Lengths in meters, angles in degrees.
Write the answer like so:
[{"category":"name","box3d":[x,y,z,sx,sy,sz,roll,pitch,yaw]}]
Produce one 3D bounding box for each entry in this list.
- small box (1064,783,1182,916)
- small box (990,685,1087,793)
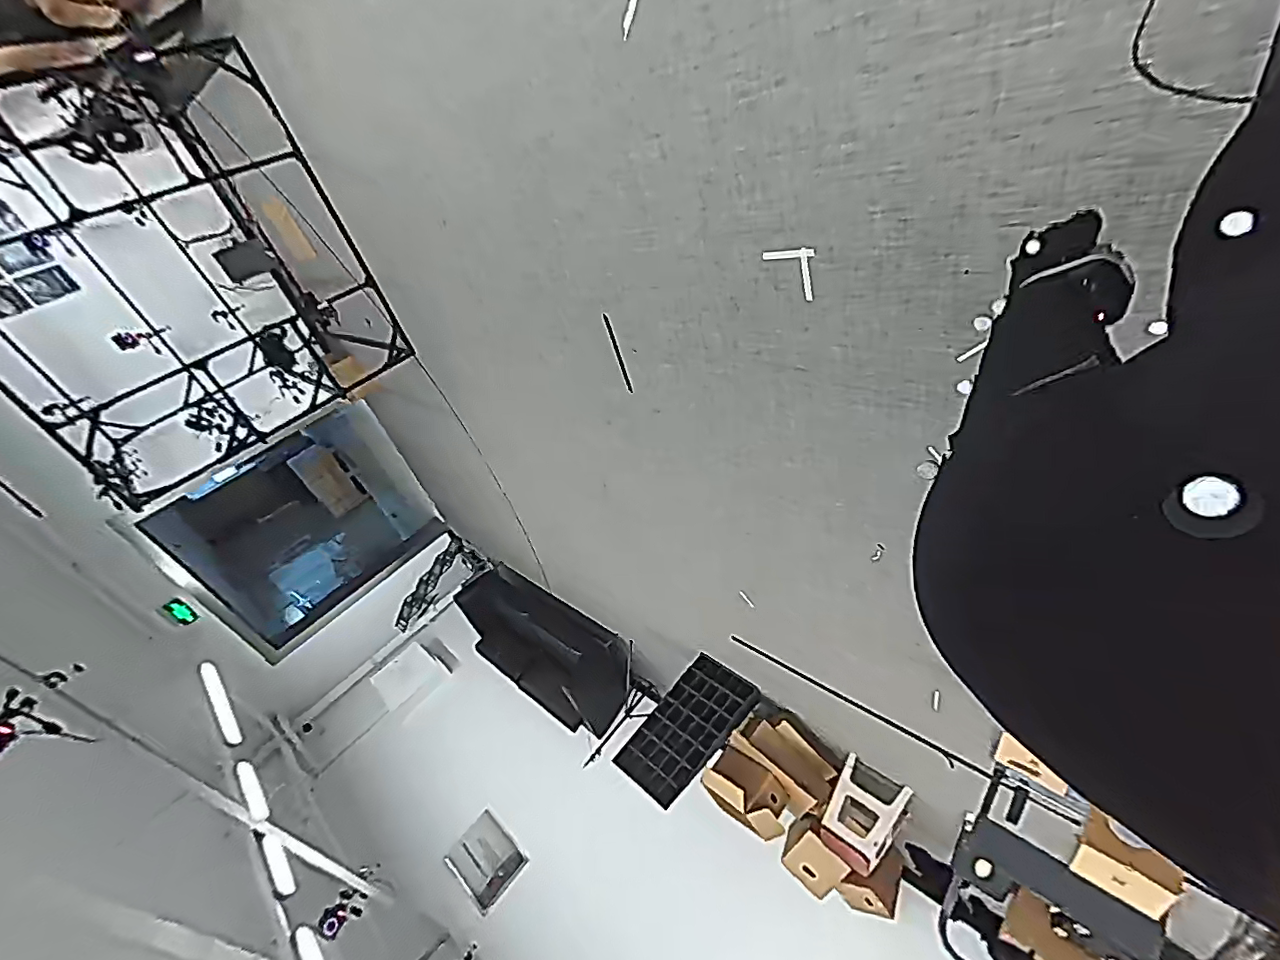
[{"category":"small box","box3d":[1.146,0.870,1.285,0.168,0.176,0.179,20,141,42]},{"category":"small box","box3d":[1.101,0.712,1.496,0.168,0.176,0.179,21,142,40]}]
